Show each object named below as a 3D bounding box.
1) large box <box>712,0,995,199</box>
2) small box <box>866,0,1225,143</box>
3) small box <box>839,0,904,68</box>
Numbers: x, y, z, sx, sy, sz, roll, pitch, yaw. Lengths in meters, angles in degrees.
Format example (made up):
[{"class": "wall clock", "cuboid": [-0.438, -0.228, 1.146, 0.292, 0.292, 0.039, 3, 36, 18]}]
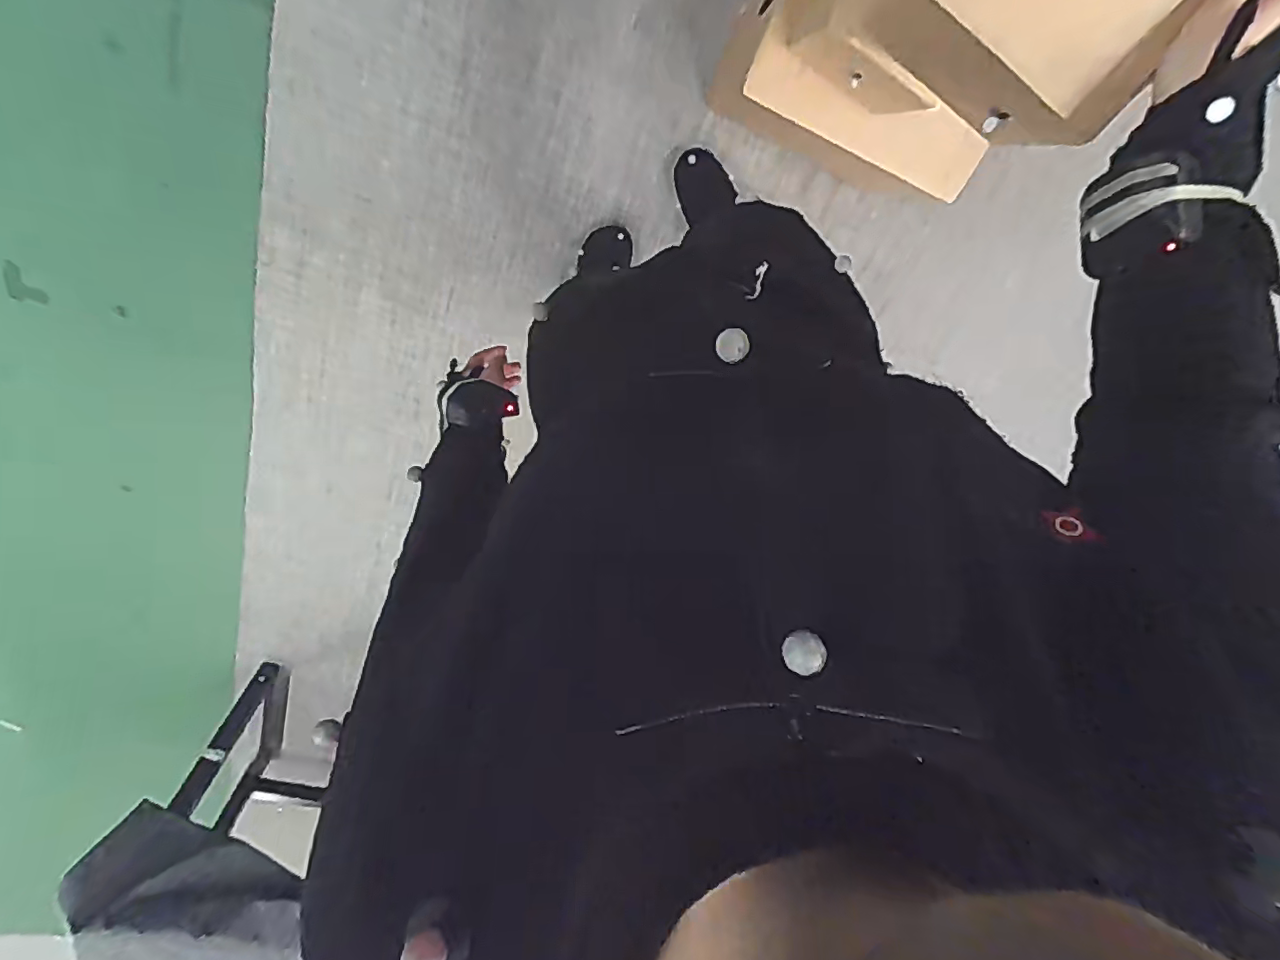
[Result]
[{"class": "large box", "cuboid": [0.383, -0.718, 0.909, 0.408, 0.320, 0.320, 17, 119, -15]}, {"class": "small box", "cuboid": [0.303, -0.382, 0.398, 0.179, 0.176, 0.168, 31, 120, -10]}, {"class": "small box", "cuboid": [0.335, -0.529, 0.544, 0.179, 0.176, 0.168, 19, 118, -14]}]
